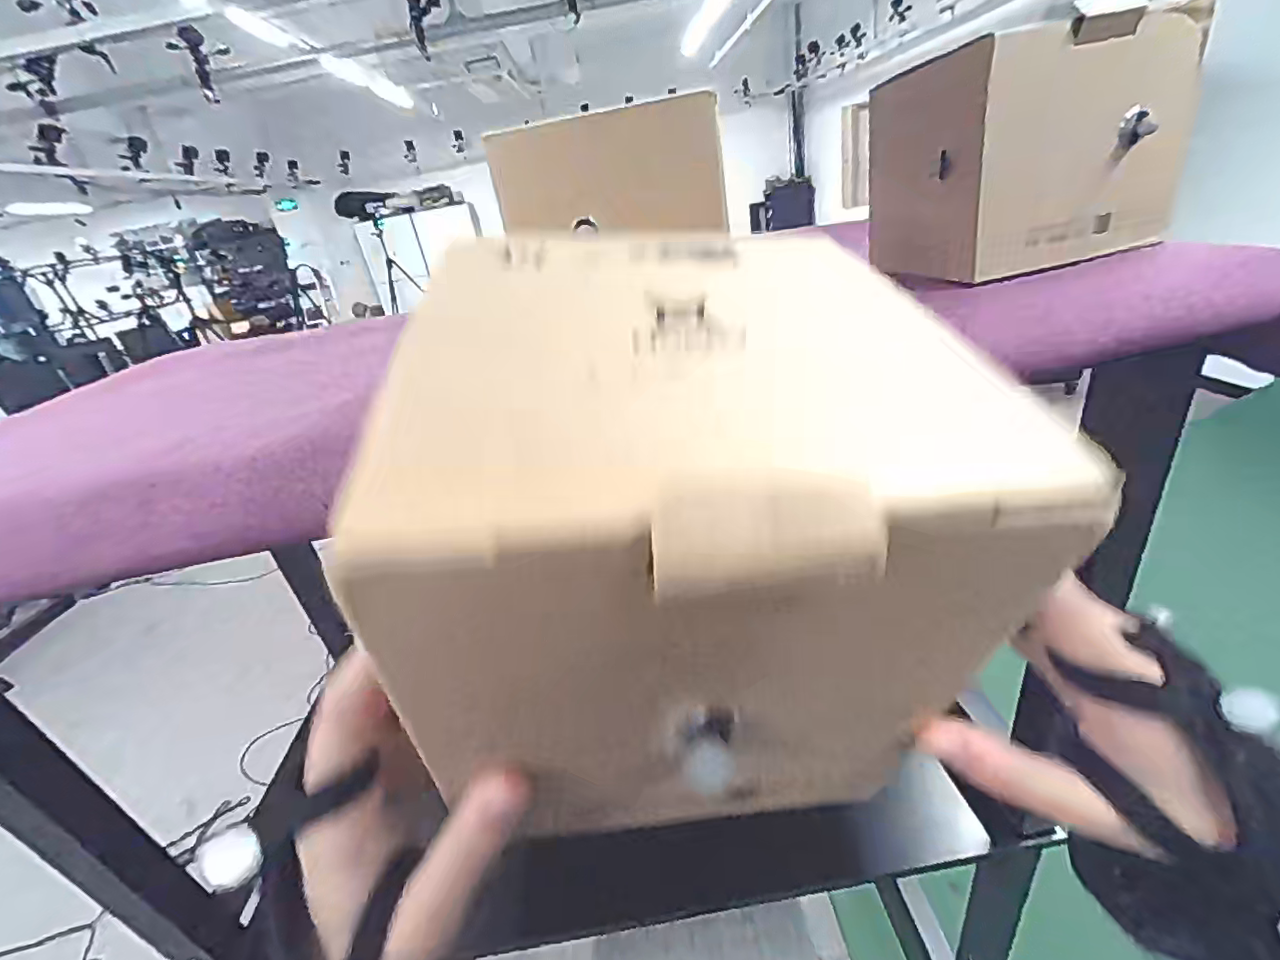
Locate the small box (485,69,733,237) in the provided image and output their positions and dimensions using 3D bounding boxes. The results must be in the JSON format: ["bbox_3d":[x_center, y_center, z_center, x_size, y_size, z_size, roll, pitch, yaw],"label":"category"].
[{"bbox_3d":[-0.012,-0.220,0.470,0.168,0.176,0.179,-8,26,5],"label":"small box"}]

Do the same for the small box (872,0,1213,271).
[{"bbox_3d":[0.324,-0.287,0.475,0.168,0.176,0.179,-11,25,-1],"label":"small box"}]

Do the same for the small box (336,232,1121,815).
[{"bbox_3d":[0.012,0.015,0.221,0.168,0.176,0.179,-3,43,-7],"label":"small box"}]
